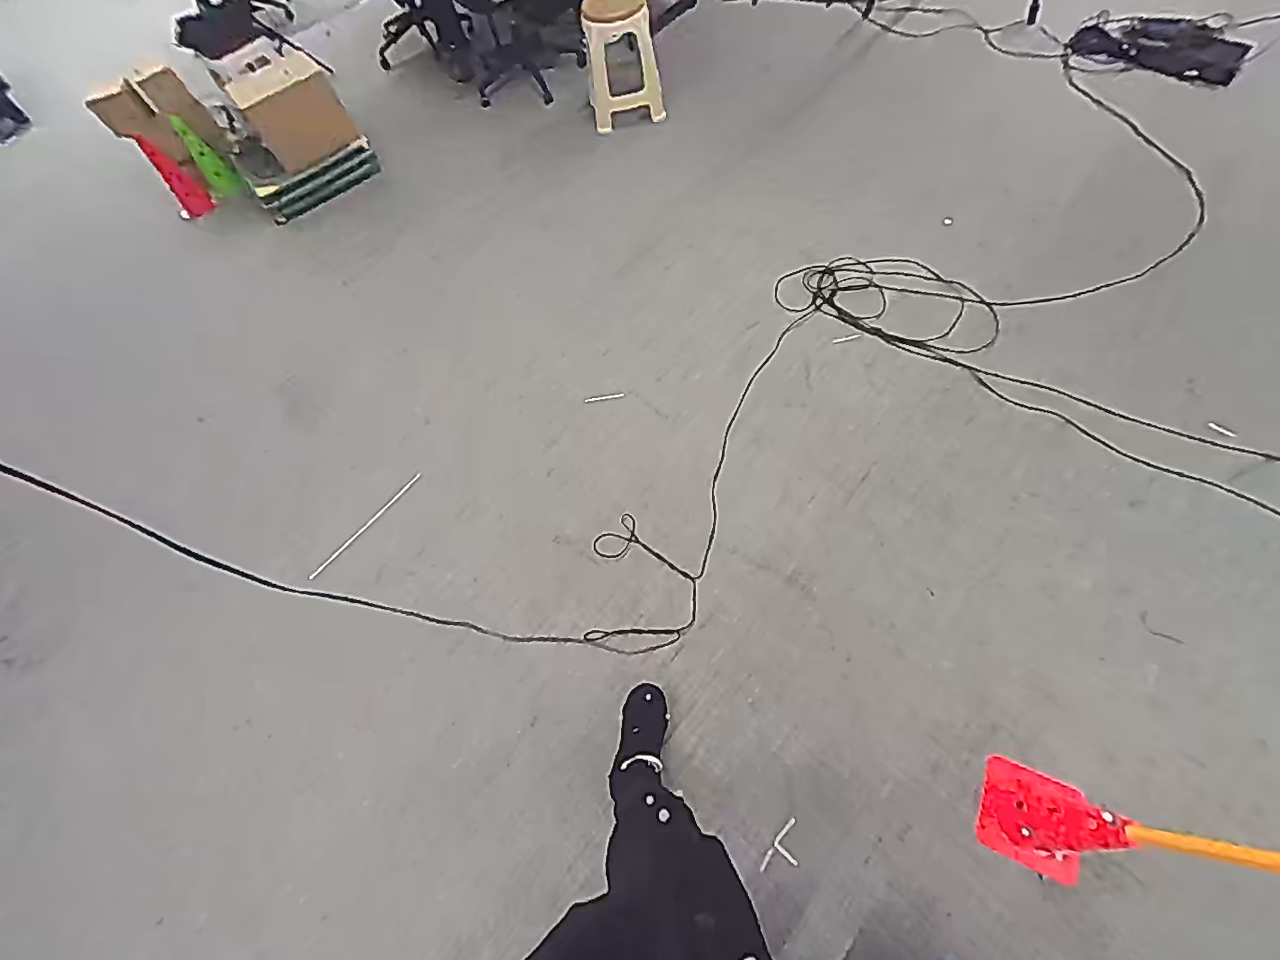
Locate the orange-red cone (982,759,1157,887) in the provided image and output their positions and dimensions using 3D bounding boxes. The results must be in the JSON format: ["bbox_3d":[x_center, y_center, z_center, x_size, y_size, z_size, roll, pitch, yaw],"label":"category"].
[{"bbox_3d":[0.863,0.678,1.058,0.198,0.360,0.199,21,66,18],"label":"orange-red cone"}]
